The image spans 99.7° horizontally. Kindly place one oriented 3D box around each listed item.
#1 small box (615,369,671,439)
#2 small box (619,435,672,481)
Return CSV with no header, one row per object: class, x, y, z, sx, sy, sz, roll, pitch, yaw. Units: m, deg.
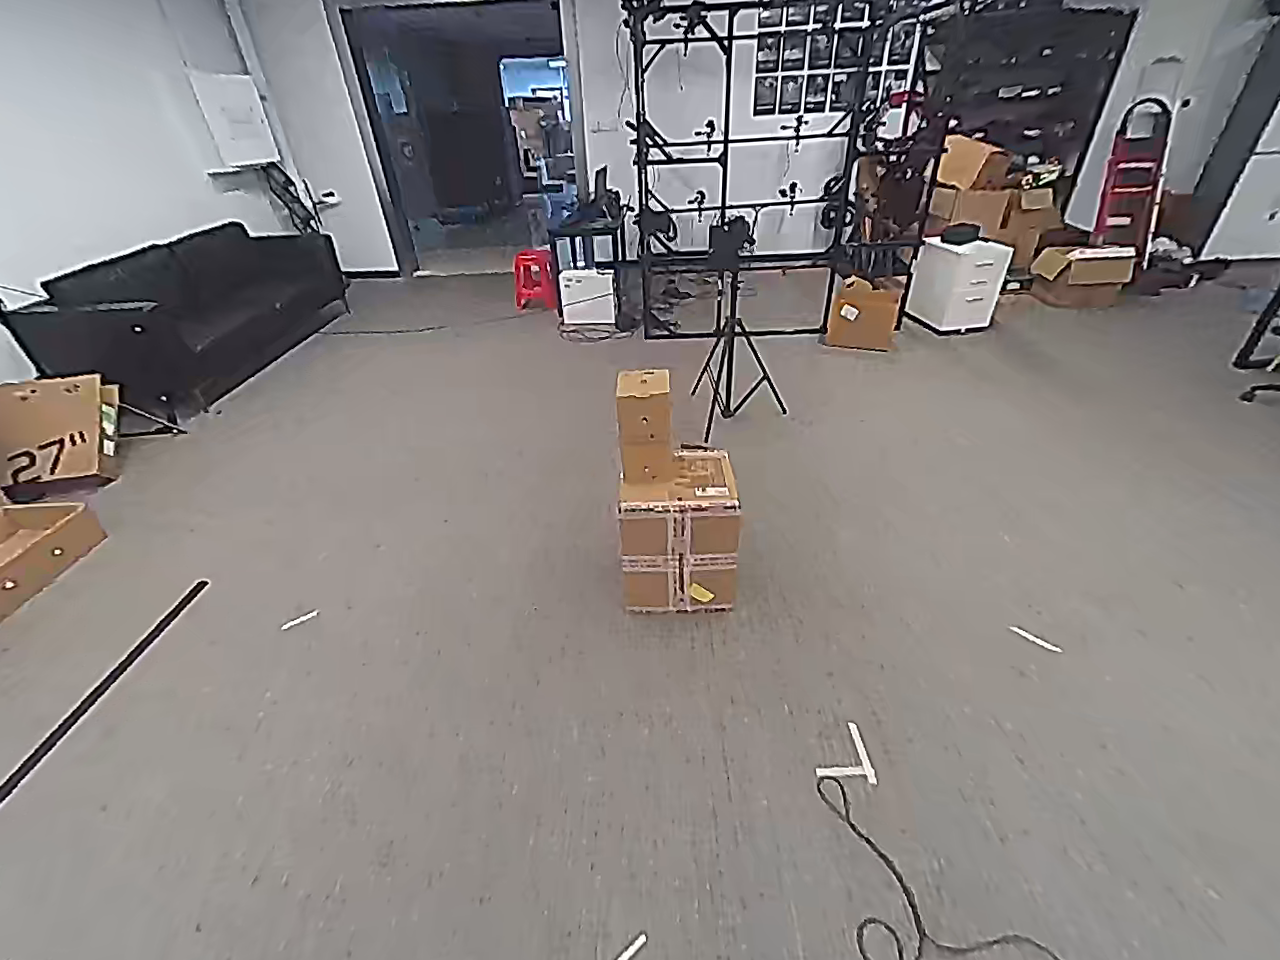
small box,0.013,-0.240,1.743,0.168,0.176,0.179,-3,37,3
small box,0.020,-0.113,1.848,0.168,0.176,0.179,-4,37,2
